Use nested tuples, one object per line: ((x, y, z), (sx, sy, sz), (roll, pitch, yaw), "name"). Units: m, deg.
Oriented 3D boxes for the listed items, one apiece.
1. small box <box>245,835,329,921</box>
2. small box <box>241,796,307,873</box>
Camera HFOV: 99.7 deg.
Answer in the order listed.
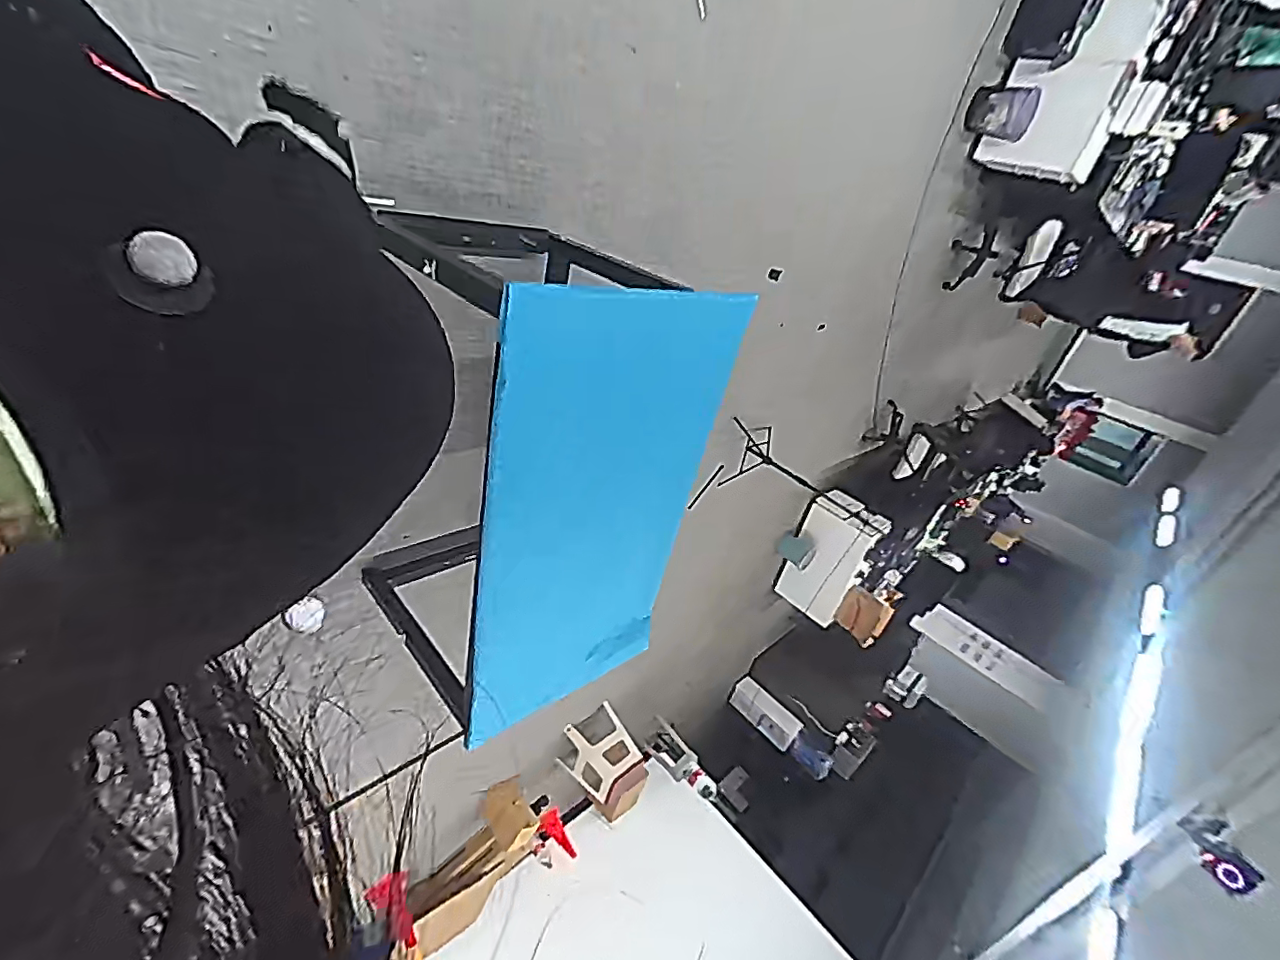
((-1.275, 1.443, 1.960), (0.168, 0.176, 0.179), (-53, 148, -2), "small box")
((-1.387, 1.351, 2.045), (0.179, 0.176, 0.168), (-15, 131, -46), "small box")
